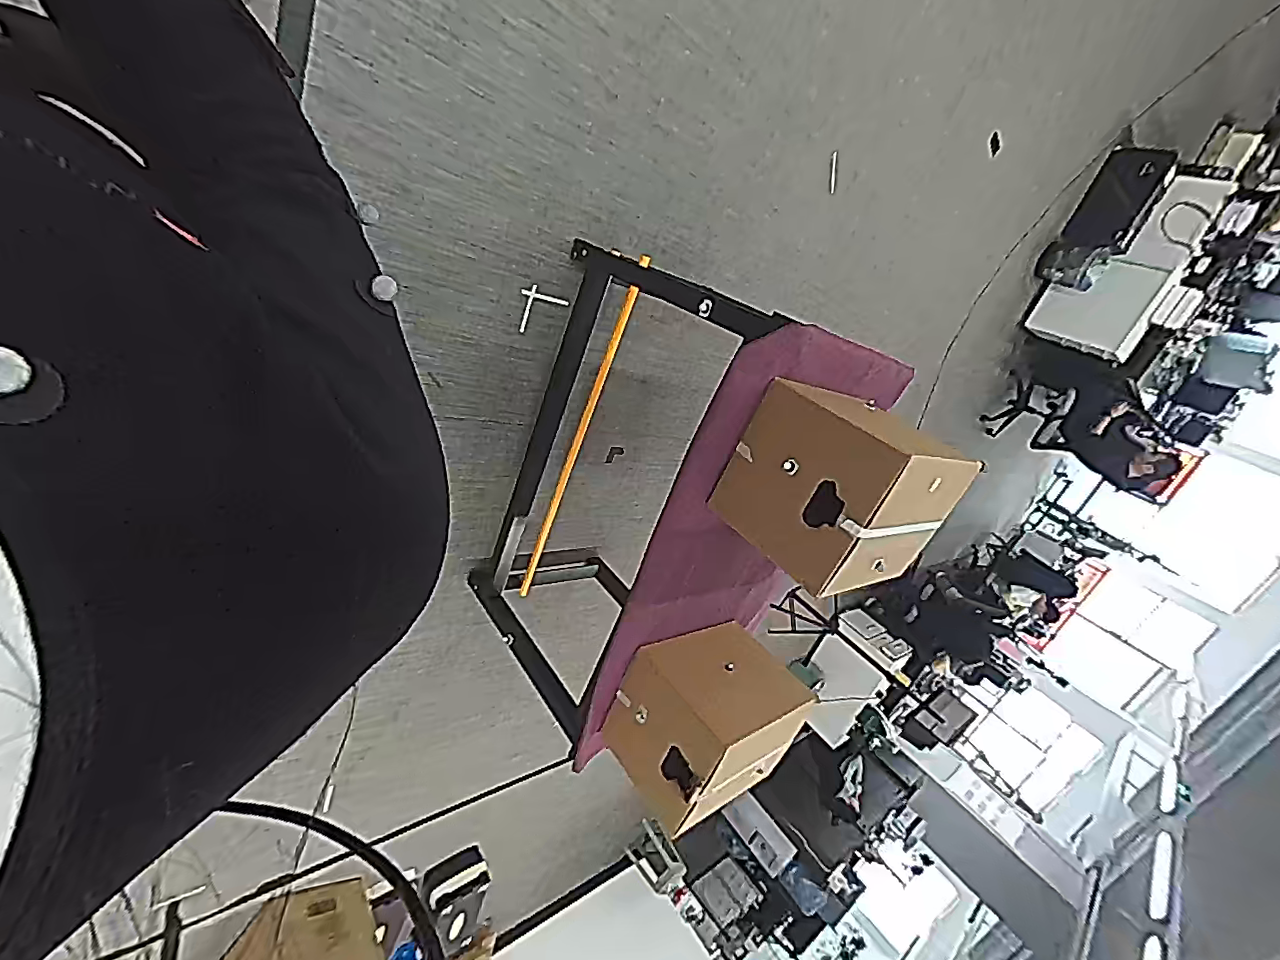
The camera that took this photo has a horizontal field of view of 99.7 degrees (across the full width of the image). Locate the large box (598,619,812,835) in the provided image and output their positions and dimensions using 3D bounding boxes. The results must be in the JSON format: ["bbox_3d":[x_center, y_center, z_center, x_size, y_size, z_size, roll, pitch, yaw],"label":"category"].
[{"bbox_3d":[0.165,0.608,1.411,0.408,0.320,0.320,0,121,-45],"label":"large box"}]
